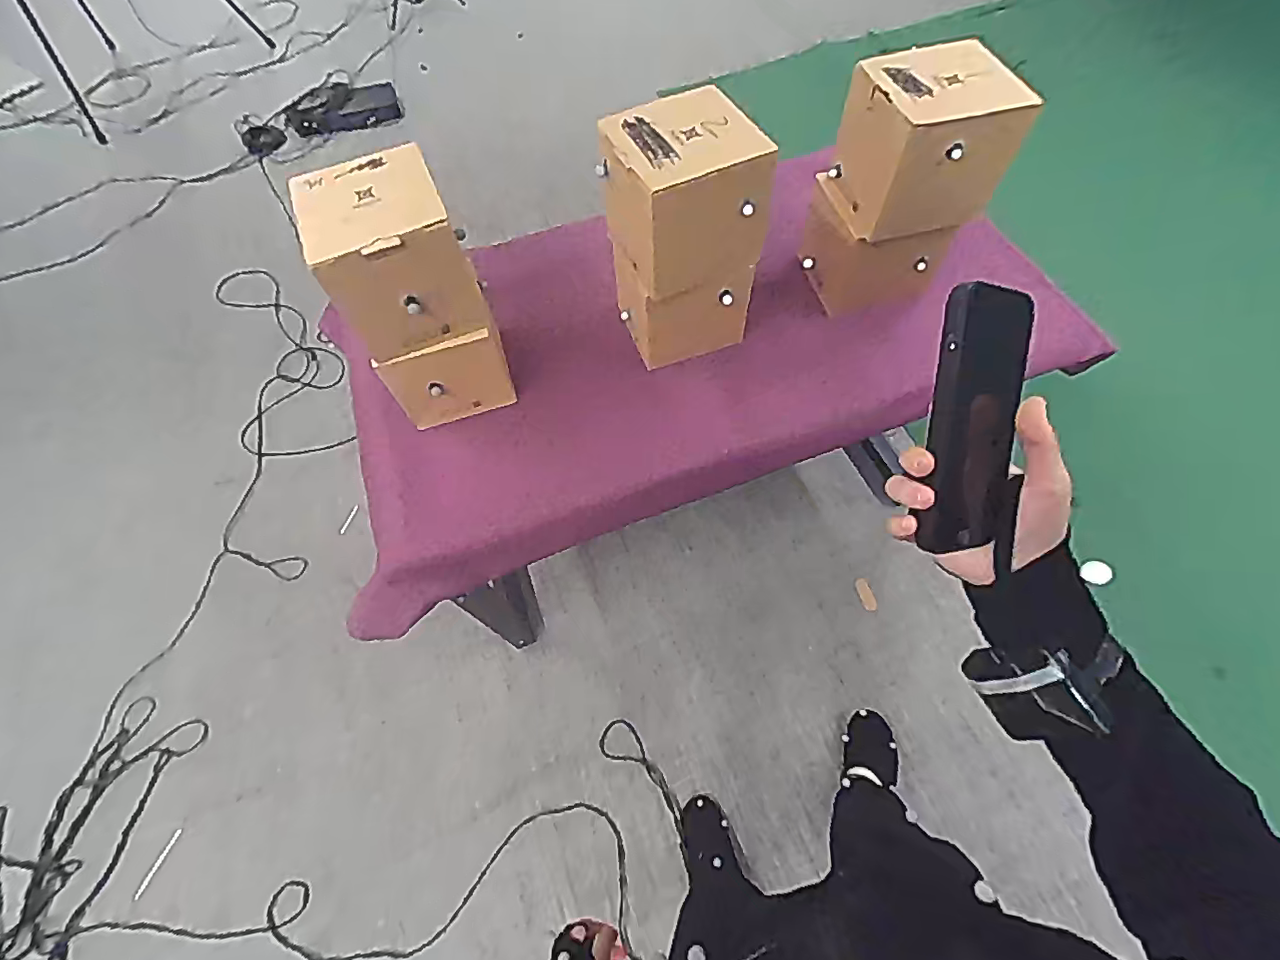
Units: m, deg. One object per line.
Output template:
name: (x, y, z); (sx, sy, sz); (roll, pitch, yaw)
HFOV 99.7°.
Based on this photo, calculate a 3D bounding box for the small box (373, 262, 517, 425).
small box: (-0.308, -0.207, 0.860); (0.168, 0.176, 0.179); (-18, 63, -6)

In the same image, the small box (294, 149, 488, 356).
small box: (-0.319, -0.290, 0.719); (0.168, 0.176, 0.179); (-22, 64, -8)

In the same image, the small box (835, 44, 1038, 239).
small box: (0.397, -0.473, 0.771); (0.179, 0.176, 0.168); (-13, 62, -4)

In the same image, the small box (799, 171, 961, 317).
small box: (0.393, -0.407, 0.921); (0.179, 0.176, 0.168); (-13, 62, -3)

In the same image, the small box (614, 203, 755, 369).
small box: (0.067, -0.312, 0.891); (0.179, 0.176, 0.168); (-18, 63, -6)
